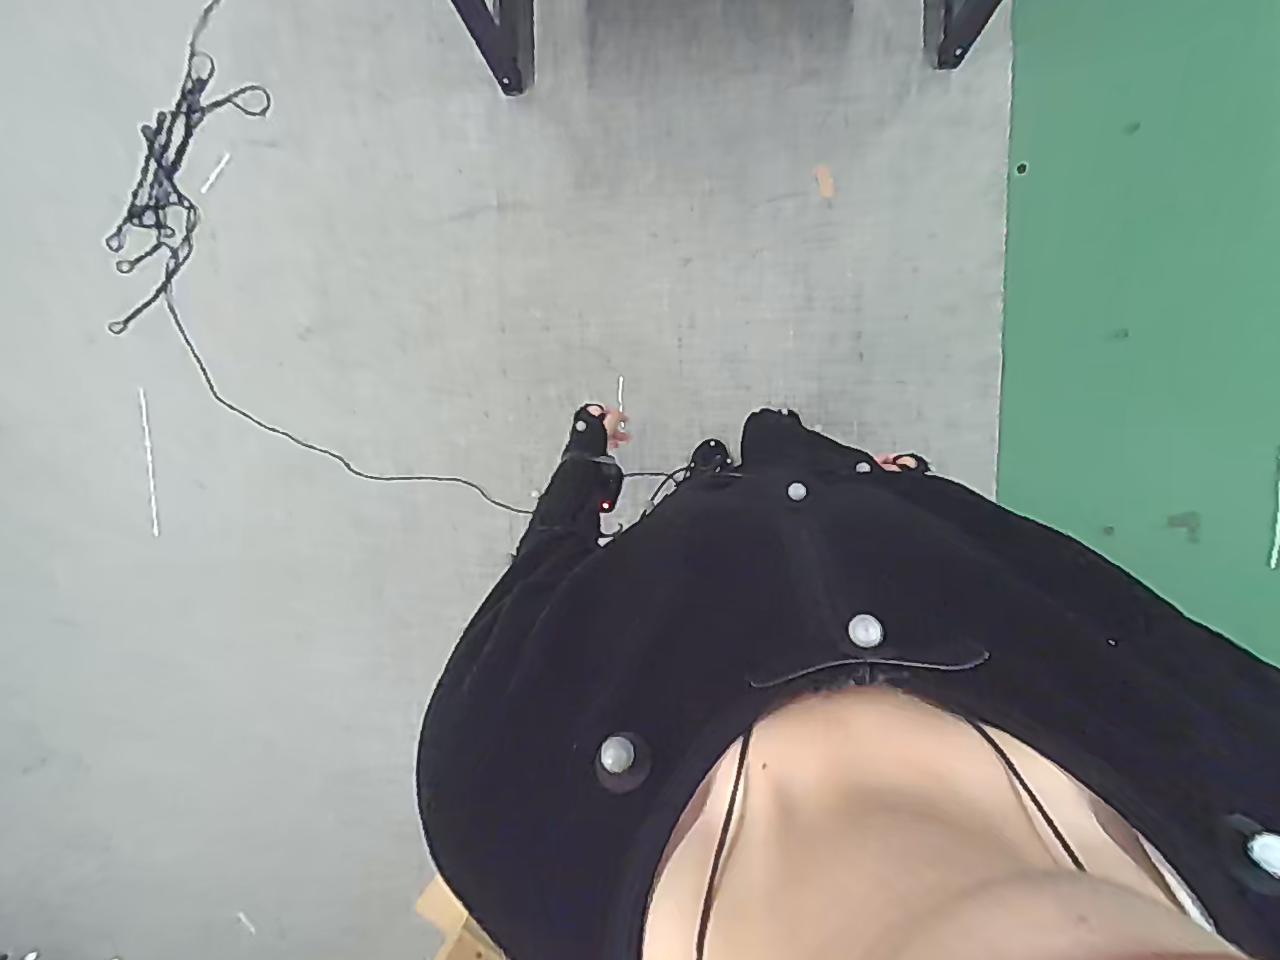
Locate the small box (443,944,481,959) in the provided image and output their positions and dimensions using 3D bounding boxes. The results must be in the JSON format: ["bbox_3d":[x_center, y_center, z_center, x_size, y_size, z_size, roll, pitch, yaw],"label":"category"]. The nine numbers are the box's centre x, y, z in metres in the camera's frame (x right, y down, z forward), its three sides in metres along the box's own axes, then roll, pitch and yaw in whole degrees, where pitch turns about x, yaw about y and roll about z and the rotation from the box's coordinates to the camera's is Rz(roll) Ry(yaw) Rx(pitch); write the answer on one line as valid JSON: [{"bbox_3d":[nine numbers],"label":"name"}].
[{"bbox_3d":[-0.376,1.091,1.069,0.168,0.176,0.179,34,98,4],"label":"small box"}]
